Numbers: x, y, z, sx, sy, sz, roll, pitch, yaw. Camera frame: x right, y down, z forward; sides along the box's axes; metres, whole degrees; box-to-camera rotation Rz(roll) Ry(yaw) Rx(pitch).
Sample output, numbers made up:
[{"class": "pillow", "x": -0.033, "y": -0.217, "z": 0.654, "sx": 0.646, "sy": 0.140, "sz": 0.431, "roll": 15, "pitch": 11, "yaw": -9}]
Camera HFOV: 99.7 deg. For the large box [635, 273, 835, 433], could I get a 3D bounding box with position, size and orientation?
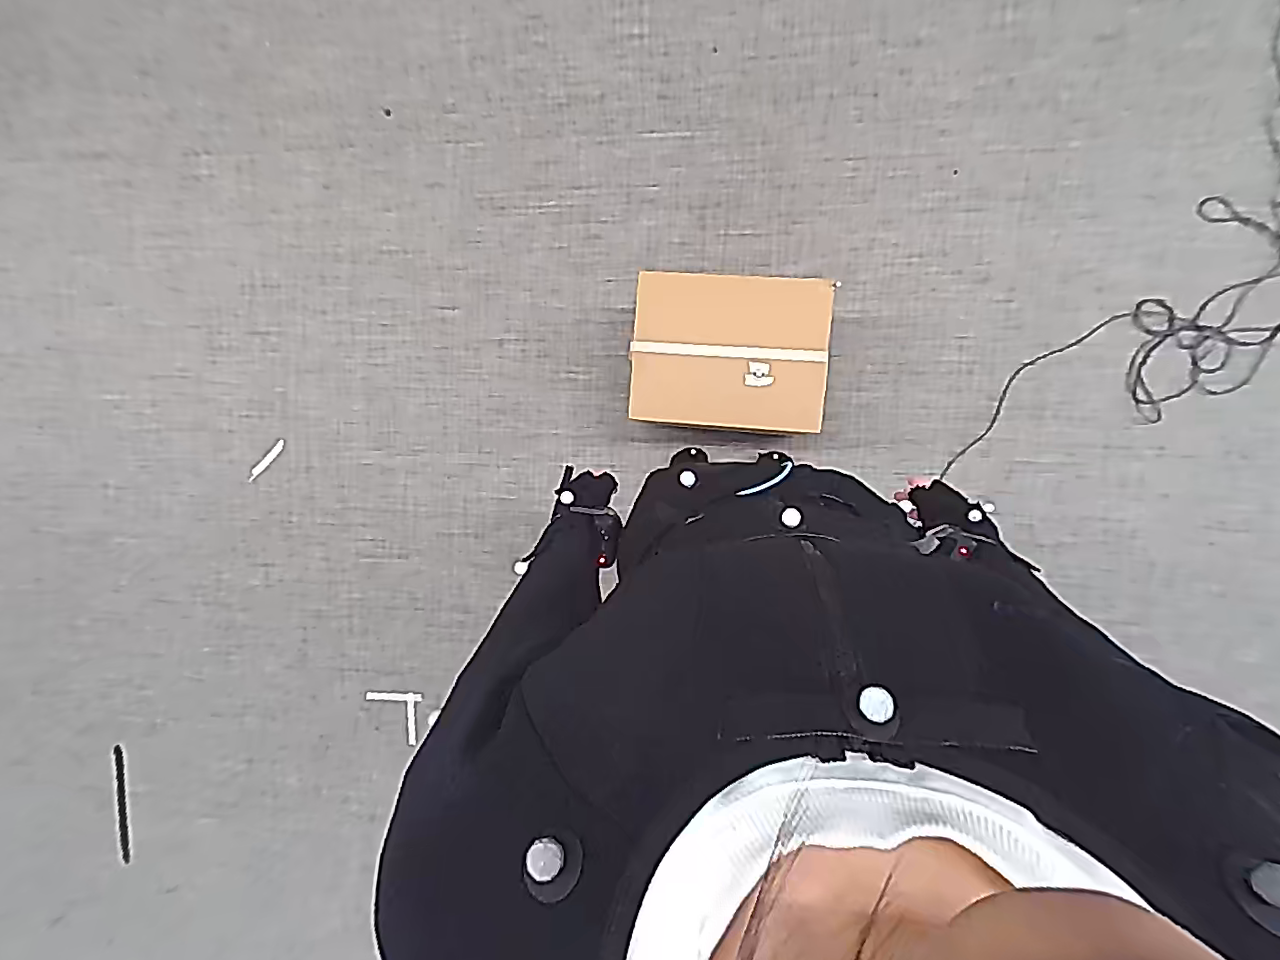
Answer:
[{"class": "large box", "x": 0.207, "y": -0.279, "z": 1.279, "sx": 0.408, "sy": 0.320, "sz": 0.320, "roll": 5, "pitch": 95, "yaw": 6}]
